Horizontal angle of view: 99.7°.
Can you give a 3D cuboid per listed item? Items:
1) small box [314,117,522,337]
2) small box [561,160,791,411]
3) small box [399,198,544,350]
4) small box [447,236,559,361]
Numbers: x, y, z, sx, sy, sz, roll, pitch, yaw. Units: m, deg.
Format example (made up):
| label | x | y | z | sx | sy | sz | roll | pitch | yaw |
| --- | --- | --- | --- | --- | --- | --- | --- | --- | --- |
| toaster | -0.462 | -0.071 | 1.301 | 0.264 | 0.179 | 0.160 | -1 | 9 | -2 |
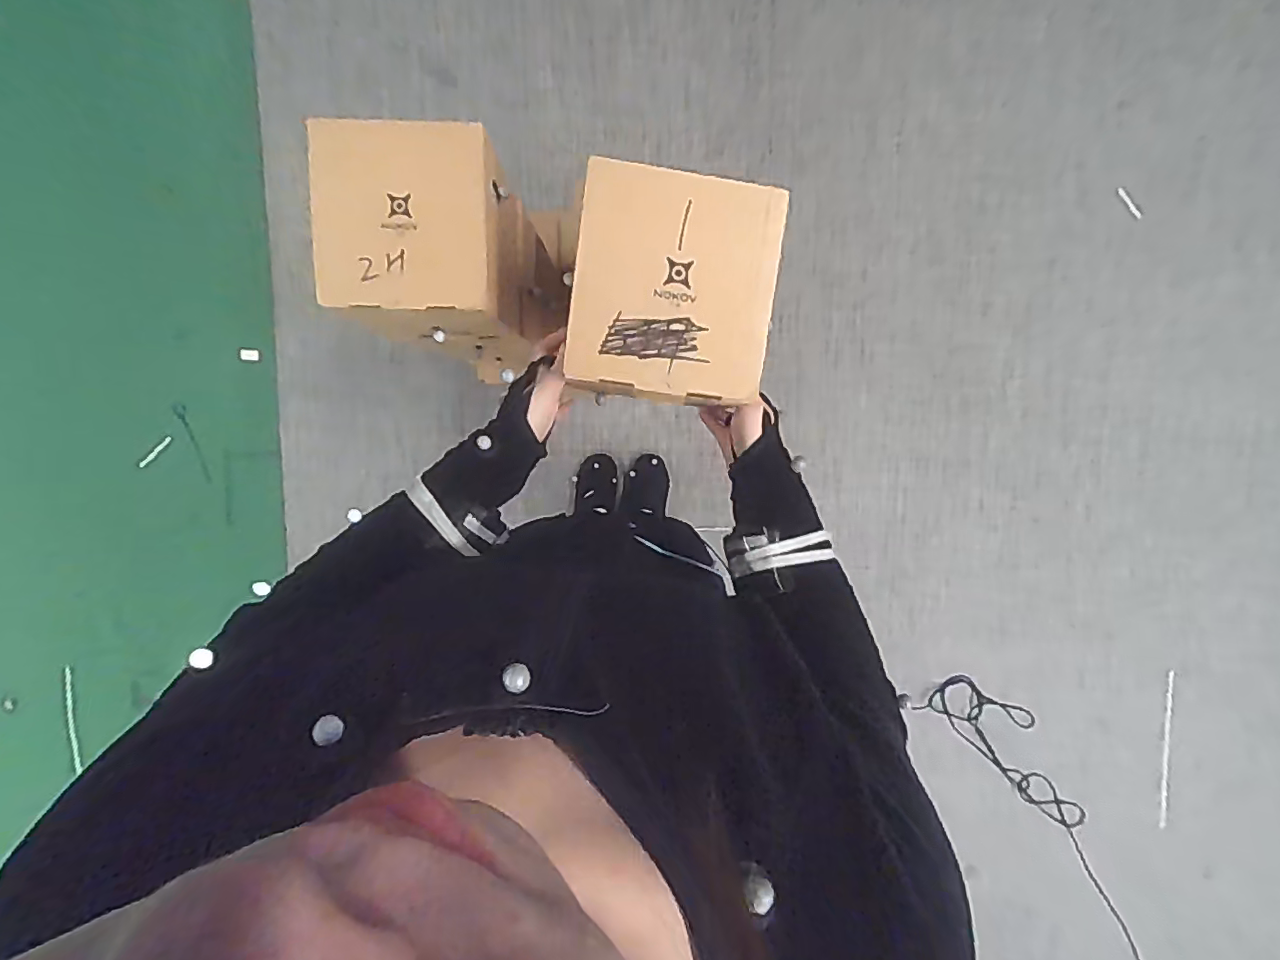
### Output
| label | x | y | z | sx | sy | sz | roll | pitch | yaw |
| --- | --- | --- | --- | --- | --- | --- | --- | --- | --- |
| small box | -0.230 | -0.263 | 0.600 | 0.168 | 0.176 | 0.179 | 1 | 97 | -1 |
| small box | 0.025 | -0.163 | 0.516 | 0.168 | 0.176 | 0.179 | 8 | 95 | -4 |
| small box | -0.229 | -0.279 | 0.764 | 0.168 | 0.176 | 0.179 | 1 | 97 | -2 |
| small box | -0.232 | -0.302 | 0.927 | 0.168 | 0.176 | 0.179 | 0 | 97 | -1 |
